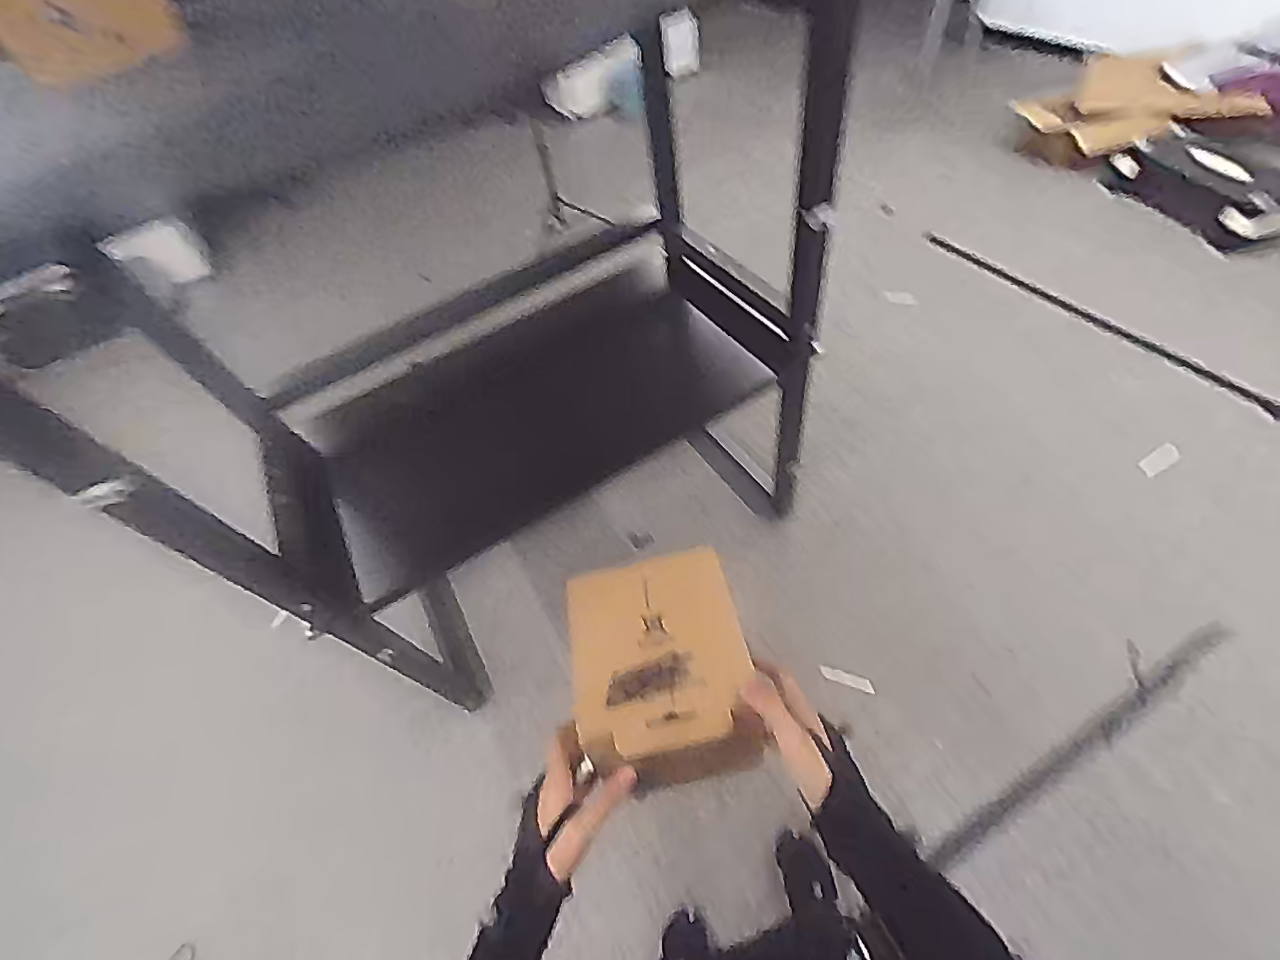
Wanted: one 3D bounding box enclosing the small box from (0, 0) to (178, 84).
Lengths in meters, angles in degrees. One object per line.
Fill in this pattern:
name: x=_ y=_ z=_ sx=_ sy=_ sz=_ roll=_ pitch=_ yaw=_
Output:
small box: x=-0.678 y=-0.587 z=0.616 sx=0.168 sy=0.176 sz=0.179 roll=-32 pitch=57 yaw=-12
